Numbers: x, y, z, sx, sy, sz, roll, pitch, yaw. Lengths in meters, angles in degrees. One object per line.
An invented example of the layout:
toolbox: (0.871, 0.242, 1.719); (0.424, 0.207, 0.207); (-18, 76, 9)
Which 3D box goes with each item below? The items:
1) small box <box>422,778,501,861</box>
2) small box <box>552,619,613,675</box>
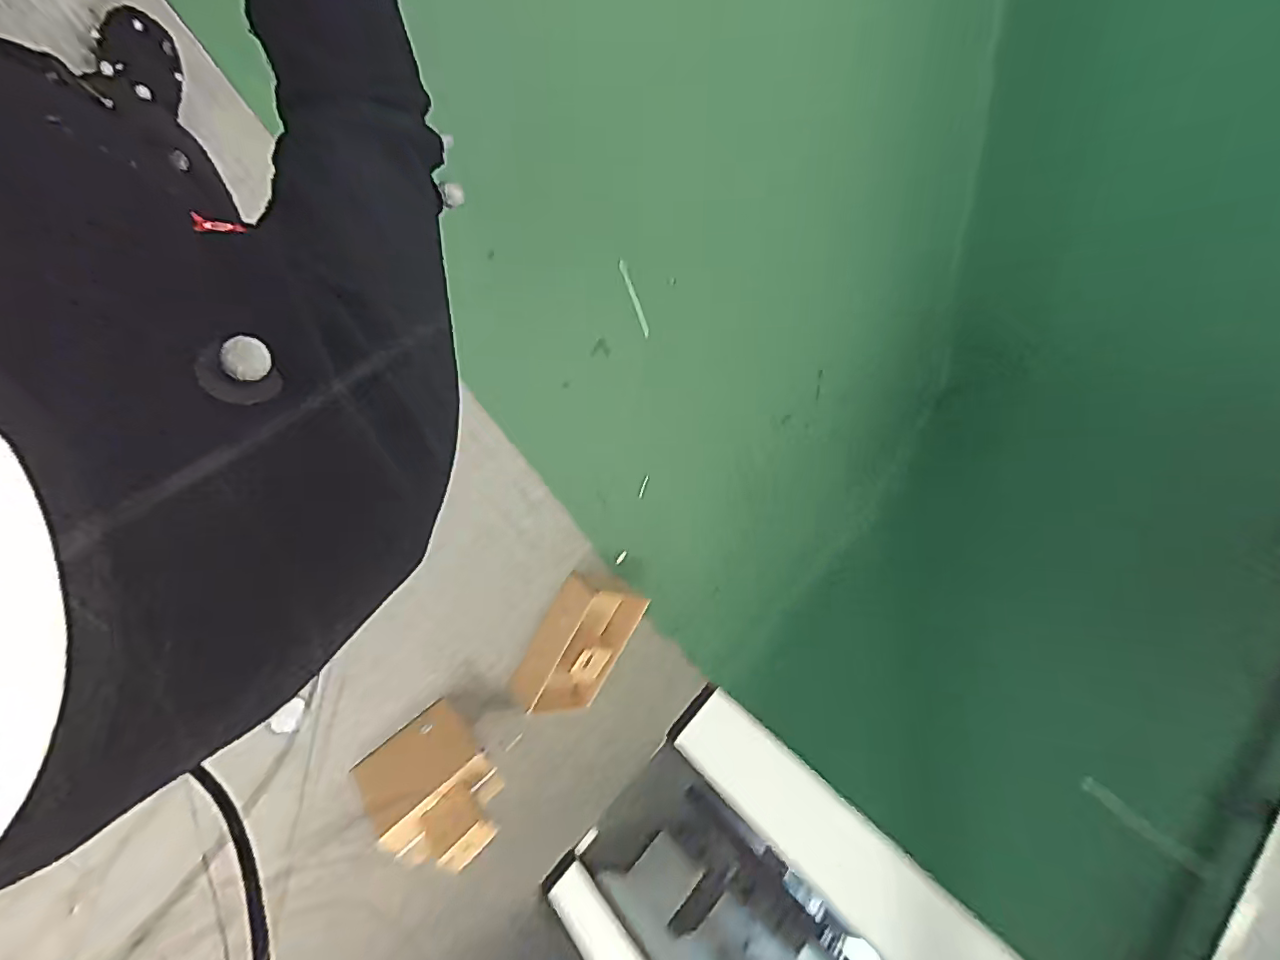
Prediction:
small box: (-0.634, 1.200, 1.920); (0.179, 0.176, 0.168); (-41, 138, -19)
small box: (-0.260, 0.746, 2.420); (0.168, 0.176, 0.179); (-56, 143, -2)
